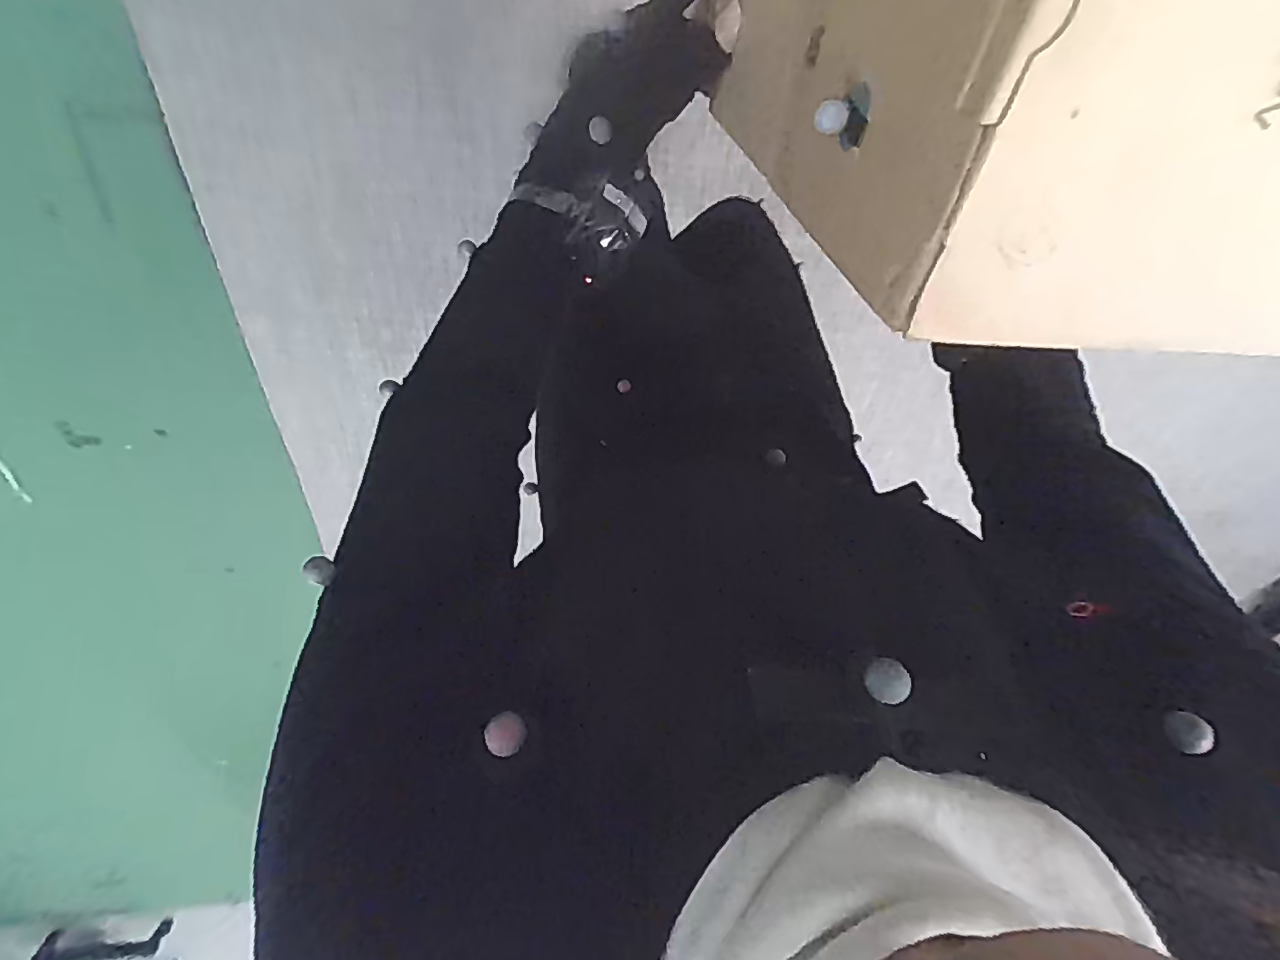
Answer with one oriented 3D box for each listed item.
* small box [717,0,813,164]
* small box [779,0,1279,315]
[{"bbox_3d":[0.146,-0.294,0.304,0.168,0.176,0.179,-1,134,-6],"label":"small box"},{"bbox_3d":[0.167,-0.176,0.193,0.179,0.176,0.168,-1,135,-7],"label":"small box"}]
